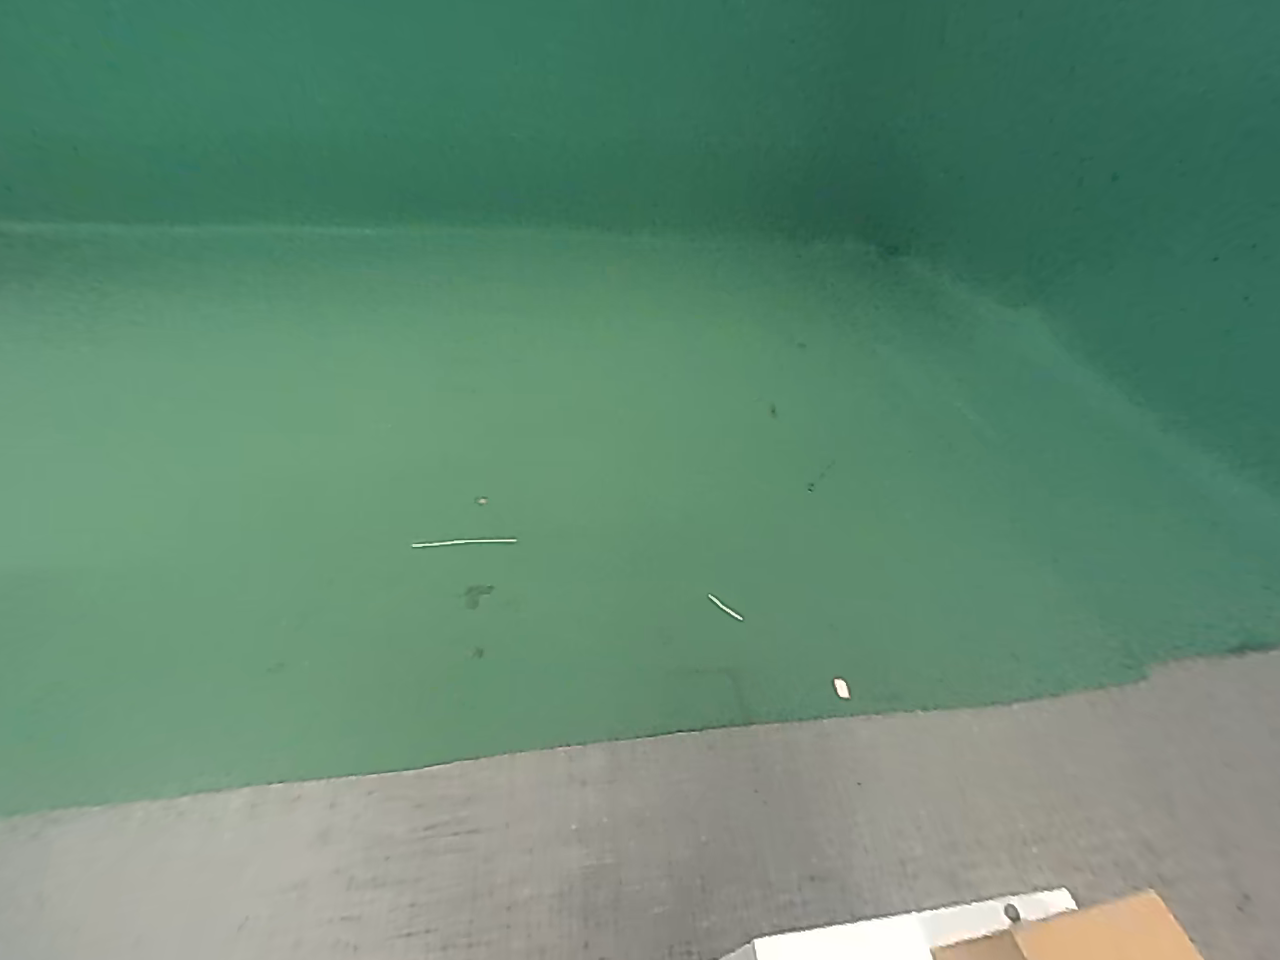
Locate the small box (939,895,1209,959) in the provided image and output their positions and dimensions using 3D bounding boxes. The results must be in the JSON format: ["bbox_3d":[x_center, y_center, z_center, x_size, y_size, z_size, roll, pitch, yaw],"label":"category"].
[{"bbox_3d":[0.423,0.515,0.494,0.168,0.176,0.179,-5,45,-12],"label":"small box"}]
